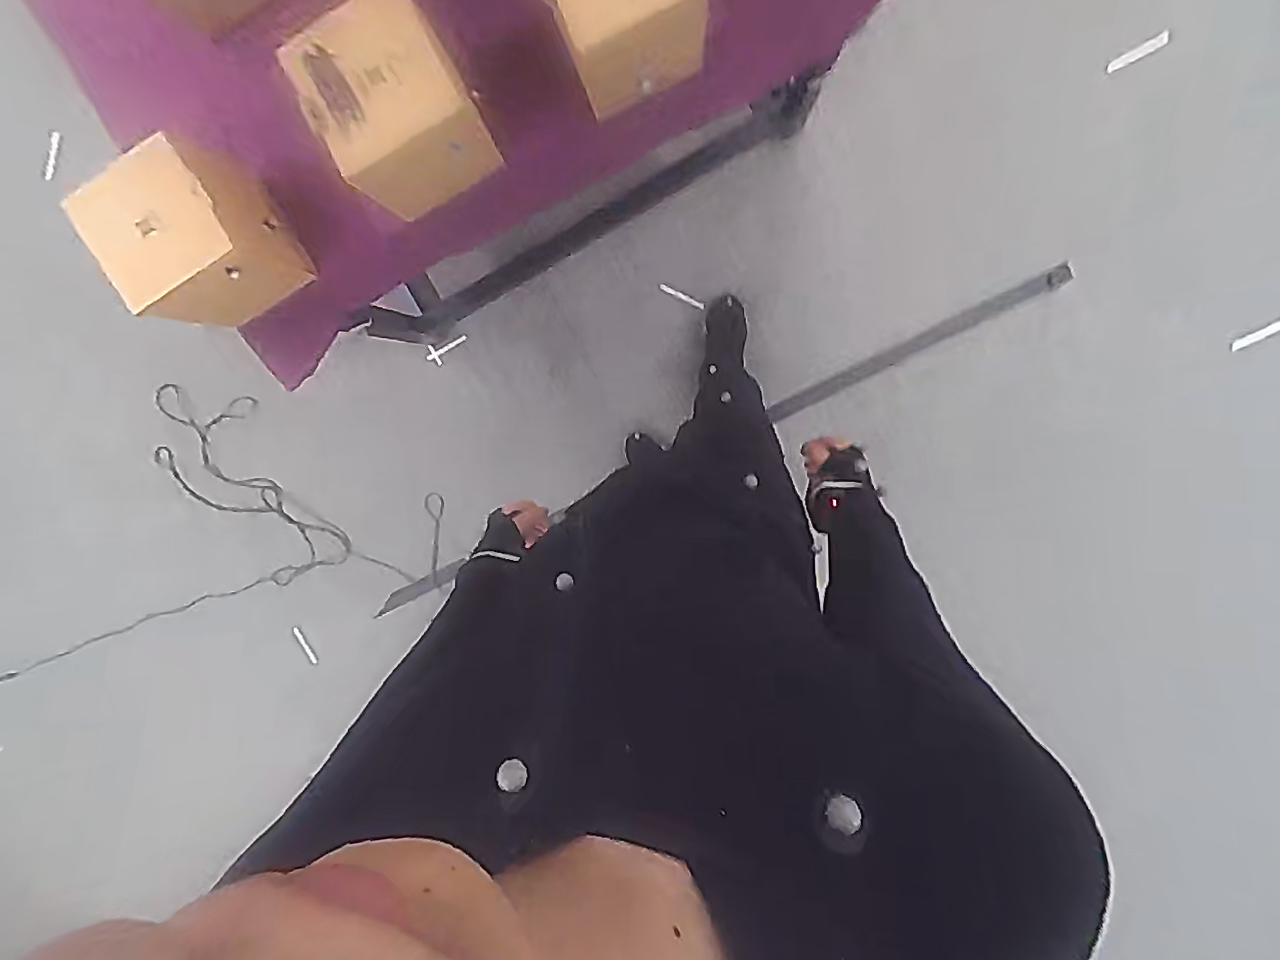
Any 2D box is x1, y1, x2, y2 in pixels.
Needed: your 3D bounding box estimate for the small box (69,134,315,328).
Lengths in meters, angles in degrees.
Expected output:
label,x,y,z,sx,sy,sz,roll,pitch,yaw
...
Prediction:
label,x,y,z,sx,sy,sz,roll,pitch,yaw
small box,-0.620,-0.336,0.773,0.179,0.176,0.168,-29,96,7
